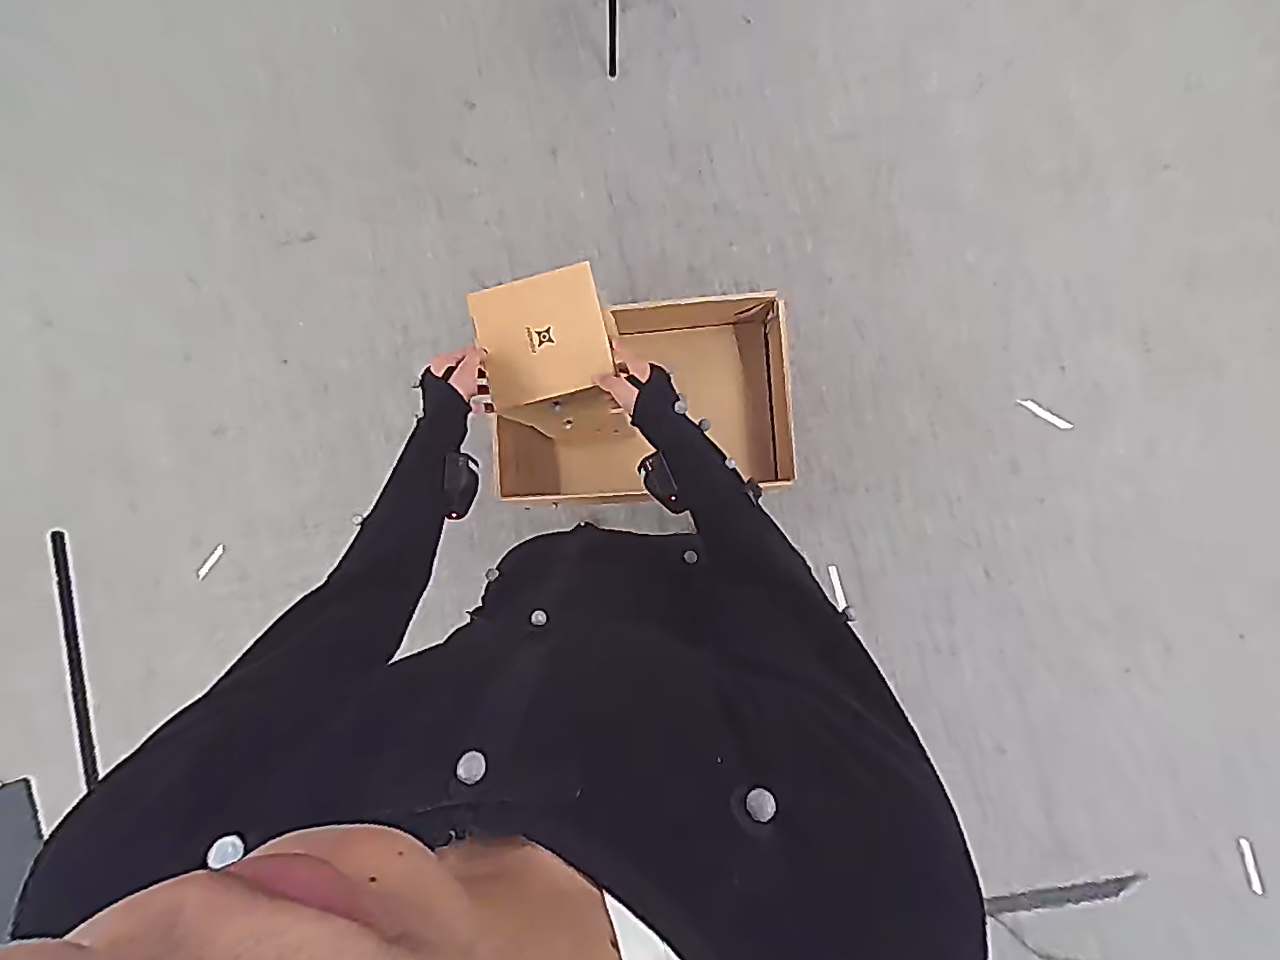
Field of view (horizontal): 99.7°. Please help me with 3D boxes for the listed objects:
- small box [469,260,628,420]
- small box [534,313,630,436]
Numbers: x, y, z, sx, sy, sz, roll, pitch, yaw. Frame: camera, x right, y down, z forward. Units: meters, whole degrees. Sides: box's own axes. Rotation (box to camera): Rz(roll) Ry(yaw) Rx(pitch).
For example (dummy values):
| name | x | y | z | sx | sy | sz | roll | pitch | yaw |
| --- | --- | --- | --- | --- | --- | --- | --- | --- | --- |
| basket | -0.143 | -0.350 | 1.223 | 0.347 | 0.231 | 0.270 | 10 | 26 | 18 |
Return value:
| name | x | y | z | sx | sy | sz | roll | pitch | yaw |
| --- | --- | --- | --- | --- | --- | --- | --- | --- | --- |
| small box | -0.120 | -0.192 | 0.792 | 0.179 | 0.176 | 0.168 | -14 | 89 | 6 |
| small box | -0.110 | -0.188 | 1.002 | 0.168 | 0.176 | 0.179 | -6 | 86 | 2 |
